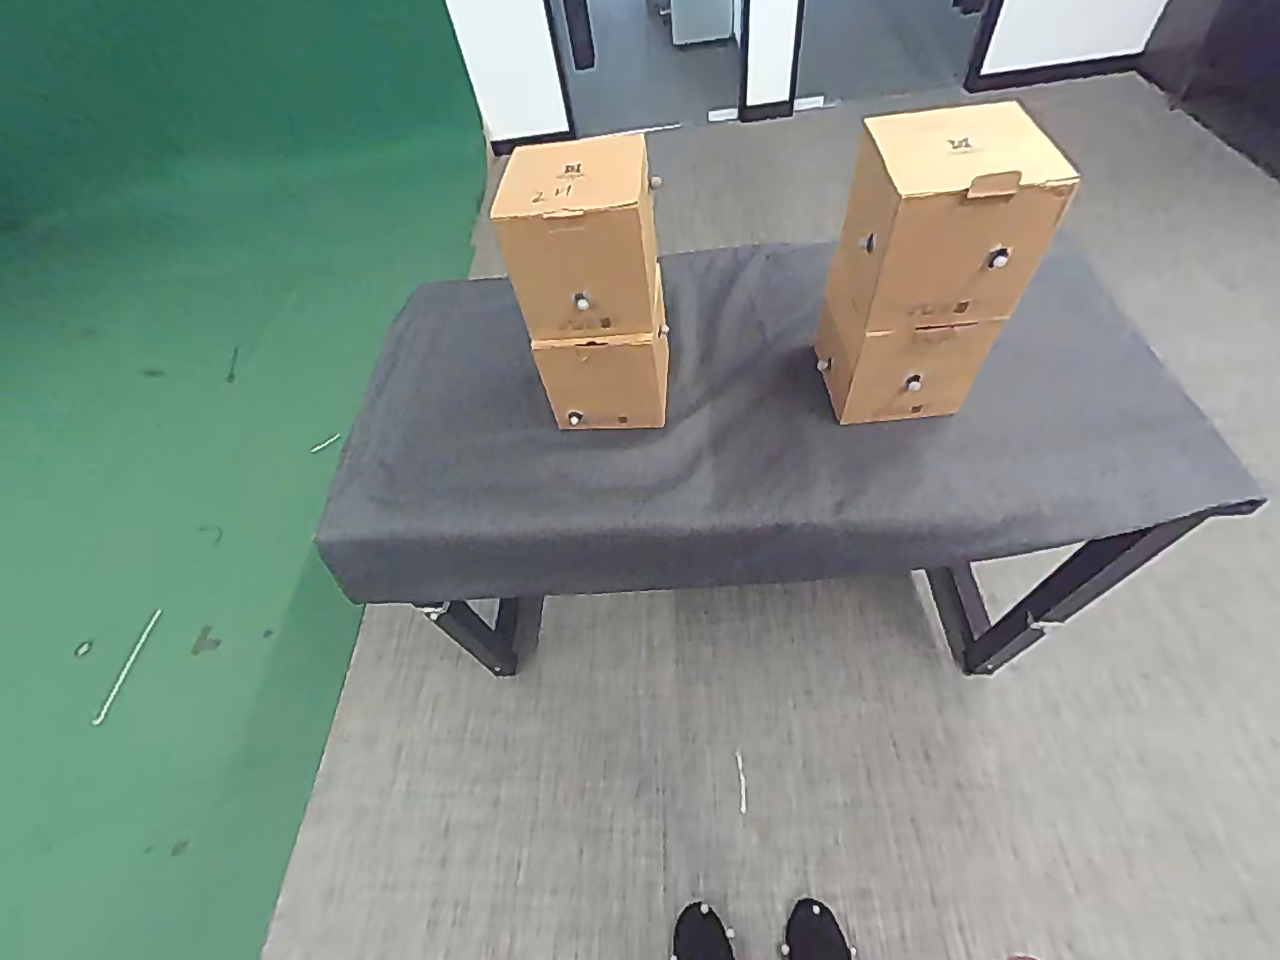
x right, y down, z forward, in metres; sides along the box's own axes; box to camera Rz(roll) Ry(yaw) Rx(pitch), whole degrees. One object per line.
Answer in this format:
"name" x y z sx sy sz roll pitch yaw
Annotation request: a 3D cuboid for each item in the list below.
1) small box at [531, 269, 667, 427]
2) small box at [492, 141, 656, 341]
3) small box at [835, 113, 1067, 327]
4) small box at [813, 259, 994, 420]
"small box" -0.049 -0.193 0.818 0.168 0.176 0.179 0 53 8
"small box" -0.070 -0.302 0.696 0.168 0.176 0.179 -2 54 7
"small box" 0.338 -0.294 0.633 0.168 0.176 0.179 -2 53 6
"small box" 0.353 -0.198 0.765 0.168 0.176 0.179 -5 54 4
